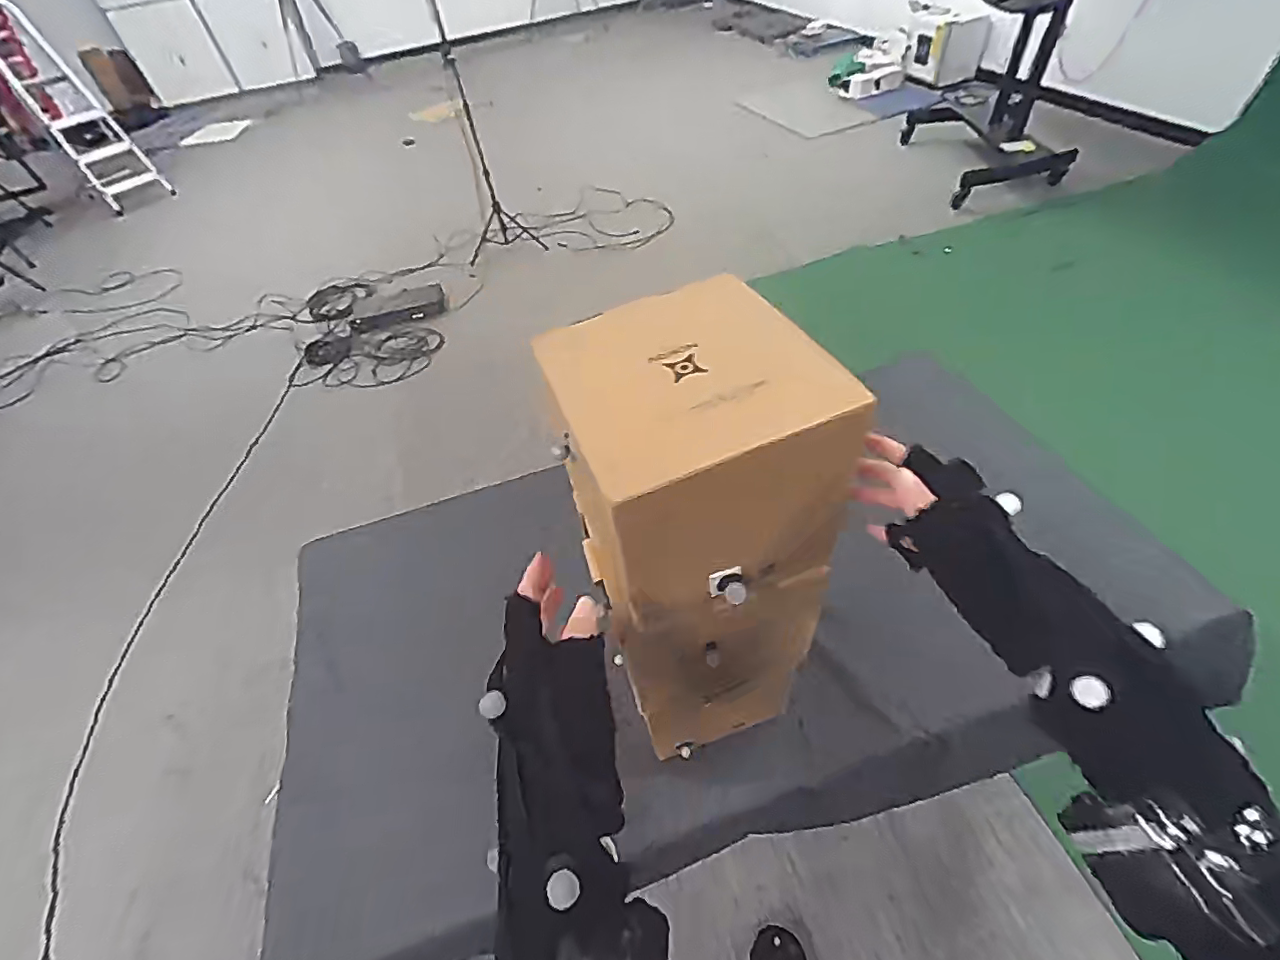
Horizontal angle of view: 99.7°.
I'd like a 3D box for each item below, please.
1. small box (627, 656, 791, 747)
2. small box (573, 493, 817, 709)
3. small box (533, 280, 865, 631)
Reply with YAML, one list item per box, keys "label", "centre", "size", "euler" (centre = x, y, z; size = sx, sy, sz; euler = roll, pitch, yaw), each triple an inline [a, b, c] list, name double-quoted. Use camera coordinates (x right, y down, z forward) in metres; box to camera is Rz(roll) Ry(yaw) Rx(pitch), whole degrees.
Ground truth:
- label: "small box"
  centre: [0.066, 0.199, 0.655]
  size: [0.168, 0.176, 0.179]
  euler: [-17, 47, -7]
- label: "small box"
  centre: [0.051, 0.095, 0.532]
  size: [0.179, 0.176, 0.168]
  euler: [-18, 46, -9]
- label: "small box"
  centre: [0.035, -0.019, 0.414]
  size: [0.168, 0.176, 0.179]
  euler: [-22, 49, -9]
